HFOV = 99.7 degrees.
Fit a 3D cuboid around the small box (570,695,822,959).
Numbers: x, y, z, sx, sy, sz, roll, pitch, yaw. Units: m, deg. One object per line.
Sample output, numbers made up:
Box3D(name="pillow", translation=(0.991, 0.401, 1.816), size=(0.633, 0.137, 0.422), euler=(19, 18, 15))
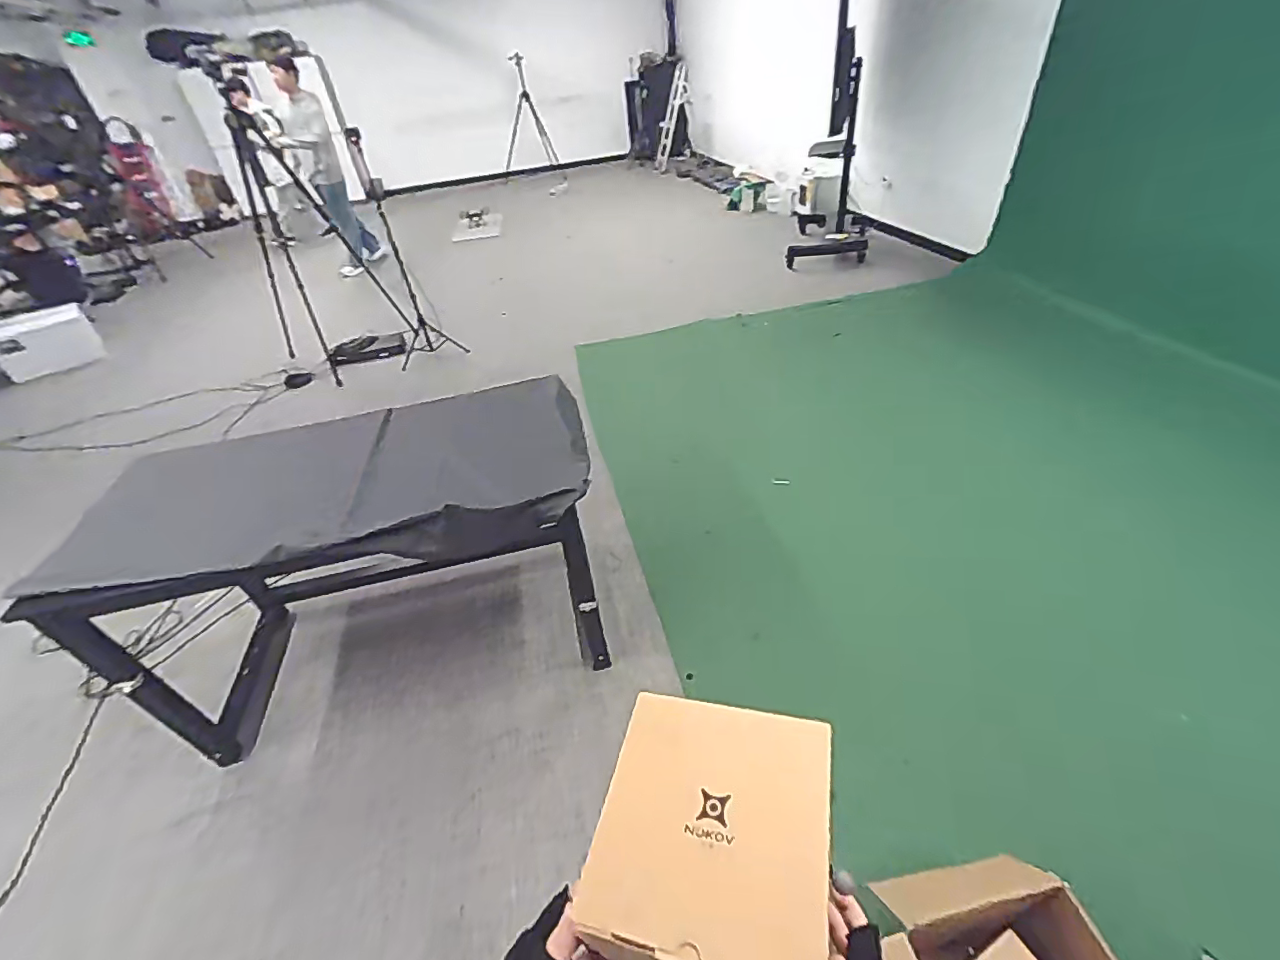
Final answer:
Box3D(name="small box", translation=(0.062, 0.317, 0.457), size=(0.168, 0.176, 0.179), euler=(2, 38, 18))
